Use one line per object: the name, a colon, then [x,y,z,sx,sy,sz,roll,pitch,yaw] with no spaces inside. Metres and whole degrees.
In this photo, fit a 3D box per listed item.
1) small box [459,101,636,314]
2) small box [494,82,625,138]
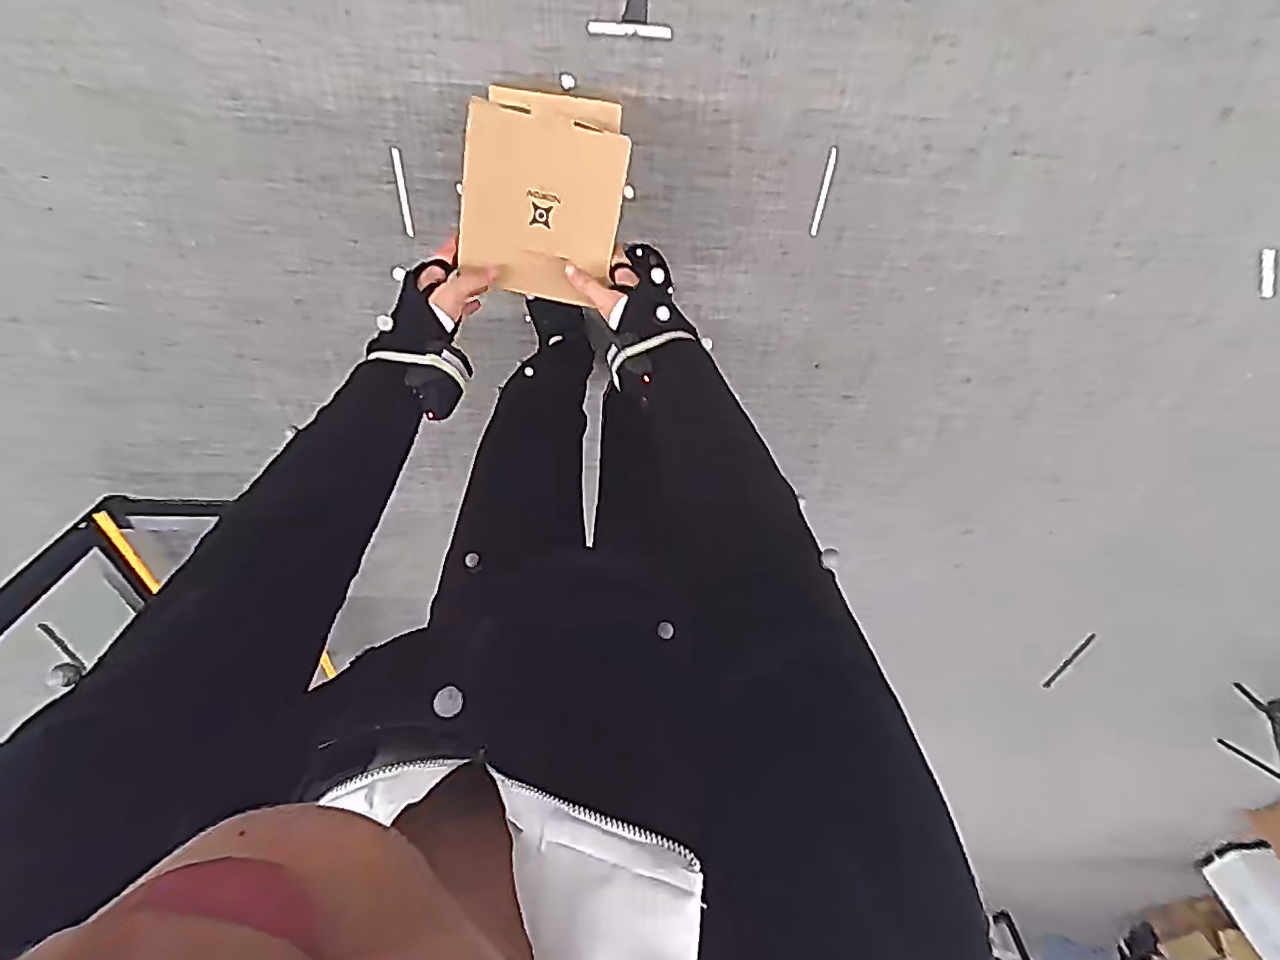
small box: [-0.108,-0.309,0.643,0.168,0.176,0.179,9,111,-9]
small box: [-0.114,-0.456,0.781,0.168,0.176,0.179,5,129,-6]
